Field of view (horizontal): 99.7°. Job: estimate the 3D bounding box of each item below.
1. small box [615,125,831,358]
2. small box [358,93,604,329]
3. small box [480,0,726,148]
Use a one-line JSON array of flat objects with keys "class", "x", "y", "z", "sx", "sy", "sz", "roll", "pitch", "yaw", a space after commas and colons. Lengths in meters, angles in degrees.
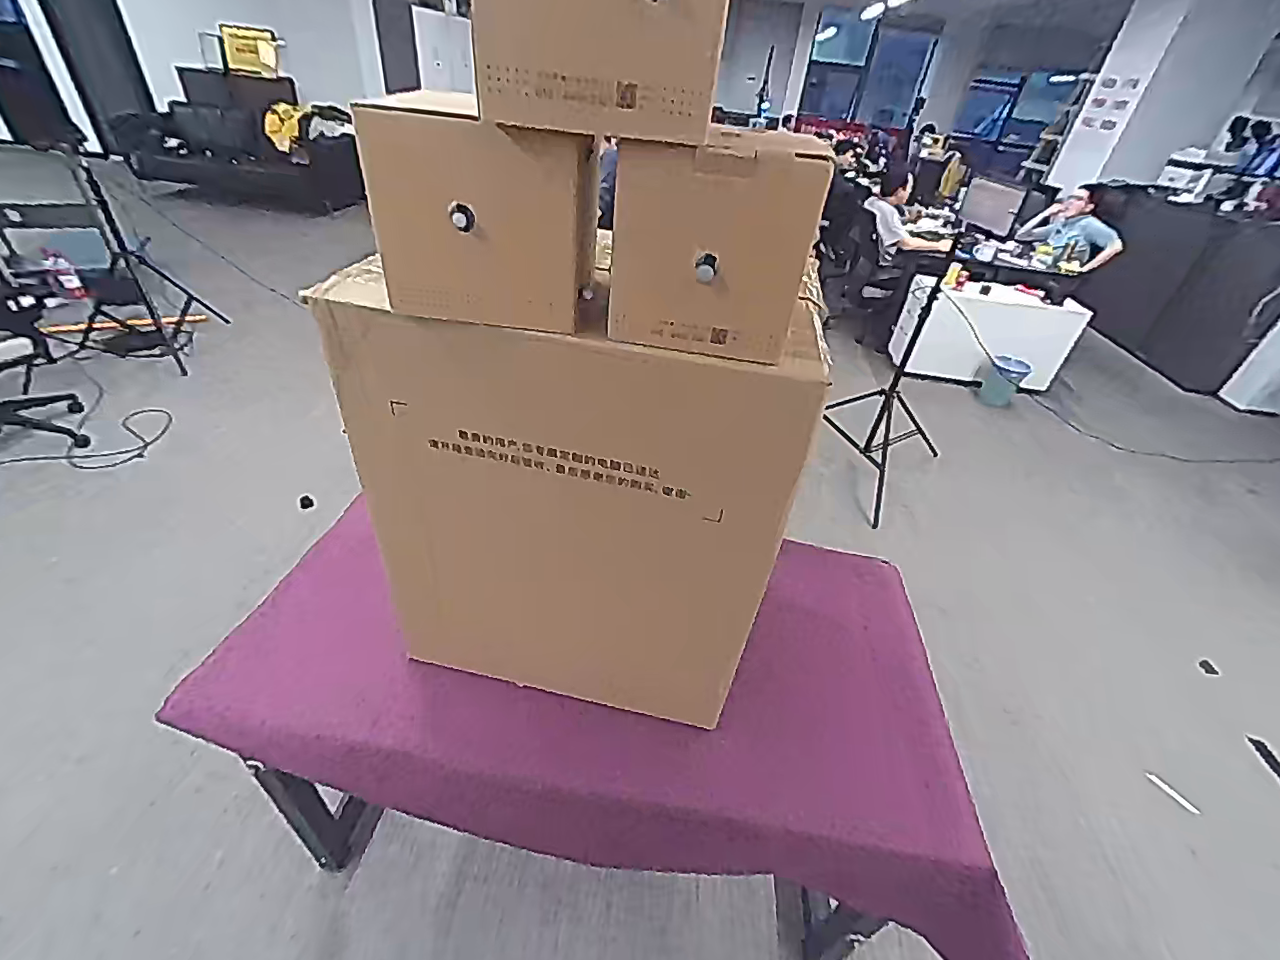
[{"class": "small box", "x": 0.072, "y": -0.235, "z": 0.525, "sx": 0.168, "sy": 0.176, "sz": 0.179, "roll": 10, "pitch": 39, "yaw": 4}, {"class": "small box", "x": -0.133, "y": -0.260, "z": 0.526, "sx": 0.179, "sy": 0.176, "sz": 0.168, "roll": 6, "pitch": 38, "yaw": 0}, {"class": "small box", "x": -0.024, "y": -0.366, "z": 0.414, "sx": 0.168, "sy": 0.176, "sz": 0.179, "roll": 4, "pitch": 37, "yaw": -5}]
